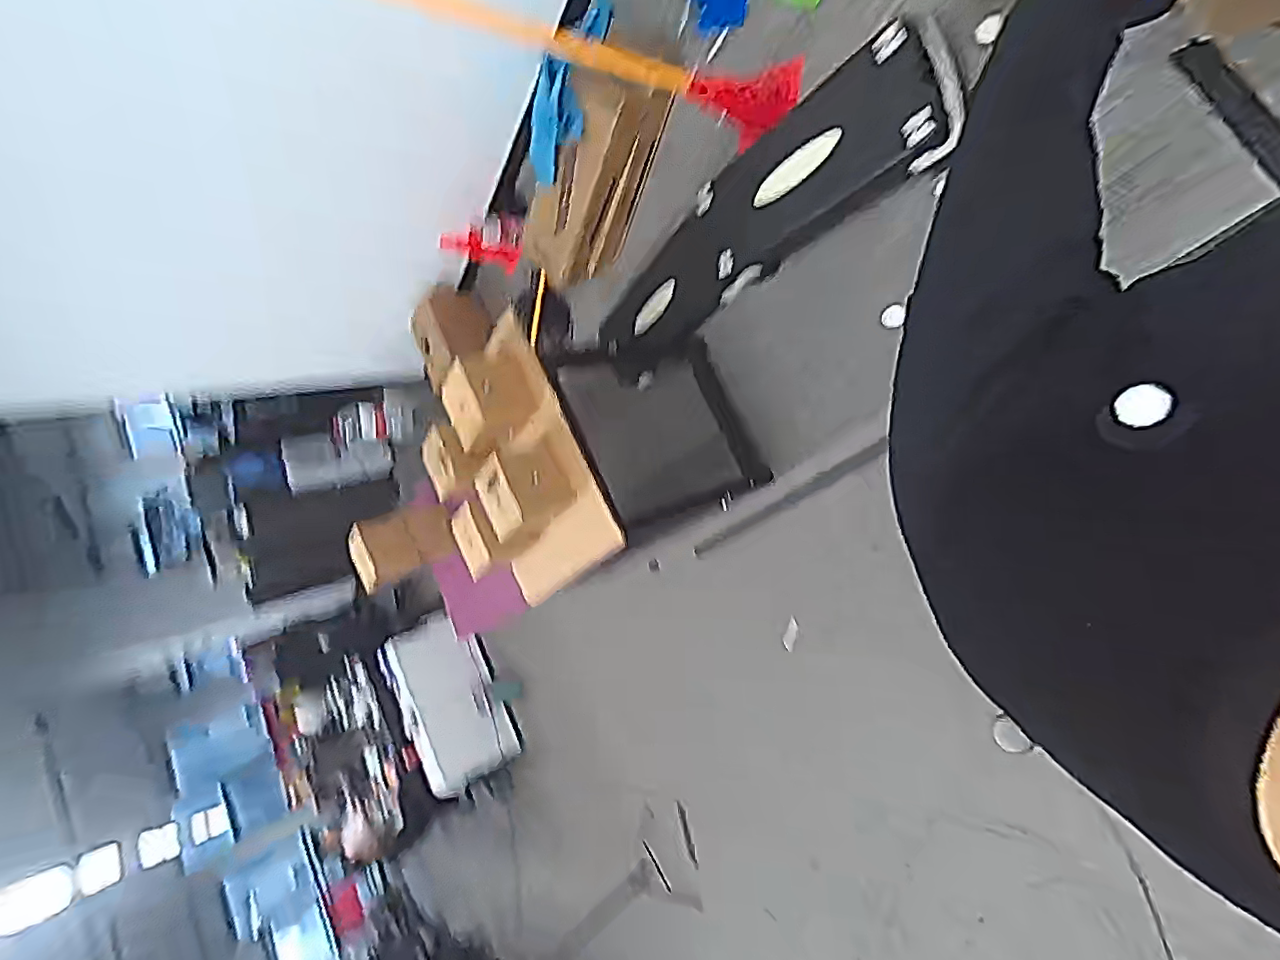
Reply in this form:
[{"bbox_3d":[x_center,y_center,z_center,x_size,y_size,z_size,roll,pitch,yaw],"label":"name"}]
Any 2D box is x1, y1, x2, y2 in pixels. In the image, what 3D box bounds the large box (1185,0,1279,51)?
[{"bbox_3d":[0.600,-0.506,0.283,0.408,0.320,0.320,17,119,44],"label":"large box"}]
